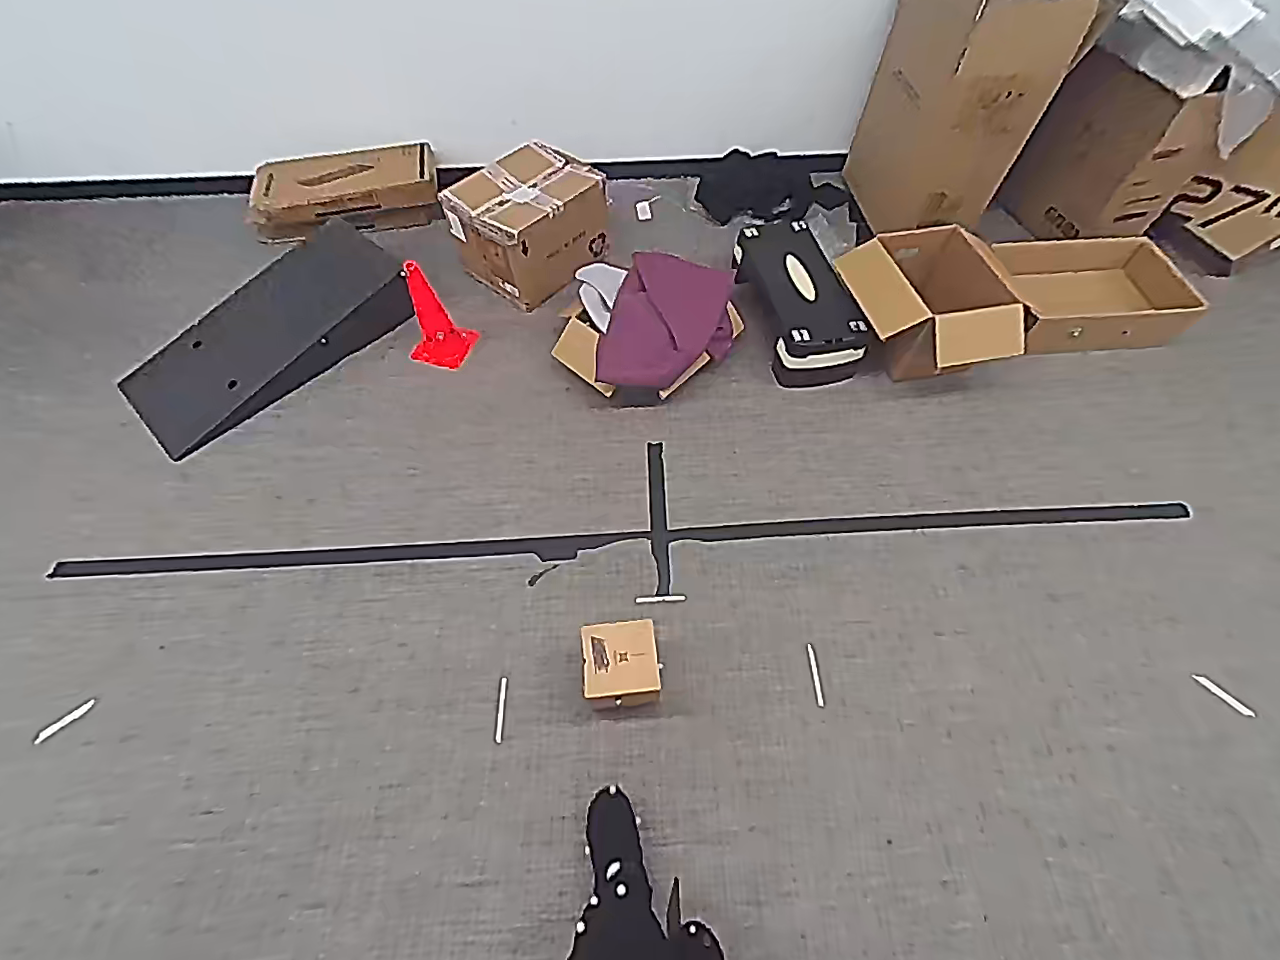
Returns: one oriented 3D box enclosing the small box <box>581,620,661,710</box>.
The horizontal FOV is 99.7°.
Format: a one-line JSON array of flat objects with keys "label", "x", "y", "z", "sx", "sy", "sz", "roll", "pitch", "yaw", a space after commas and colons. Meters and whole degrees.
[{"label": "small box", "x": -0.044, "y": 0.455, "z": 1.316, "sx": 0.179, "sy": 0.176, "sz": 0.168, "roll": -5, "pitch": 58, "yaw": -3}]
